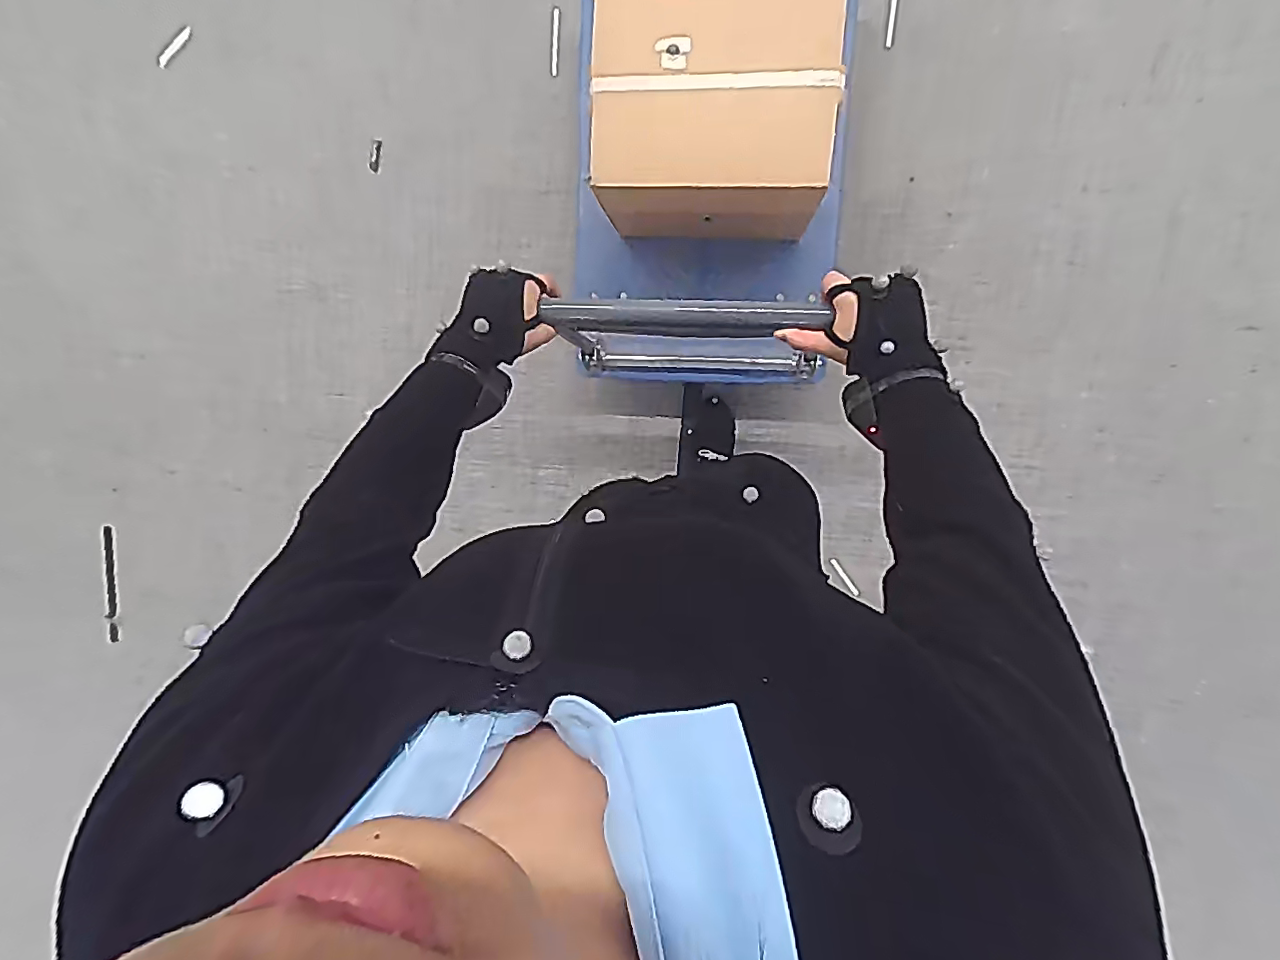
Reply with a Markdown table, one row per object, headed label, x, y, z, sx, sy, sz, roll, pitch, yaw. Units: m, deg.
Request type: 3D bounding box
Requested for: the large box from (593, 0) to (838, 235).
| label | x | y | z | sx | sy | sz | roll | pitch | yaw |
| --- | --- | --- | --- | --- | --- | --- | --- | --- | --- |
| large box | 0.140 | -0.680 | 1.052 | 0.408 | 0.320 | 0.320 | 4 | 99 | 8 |
